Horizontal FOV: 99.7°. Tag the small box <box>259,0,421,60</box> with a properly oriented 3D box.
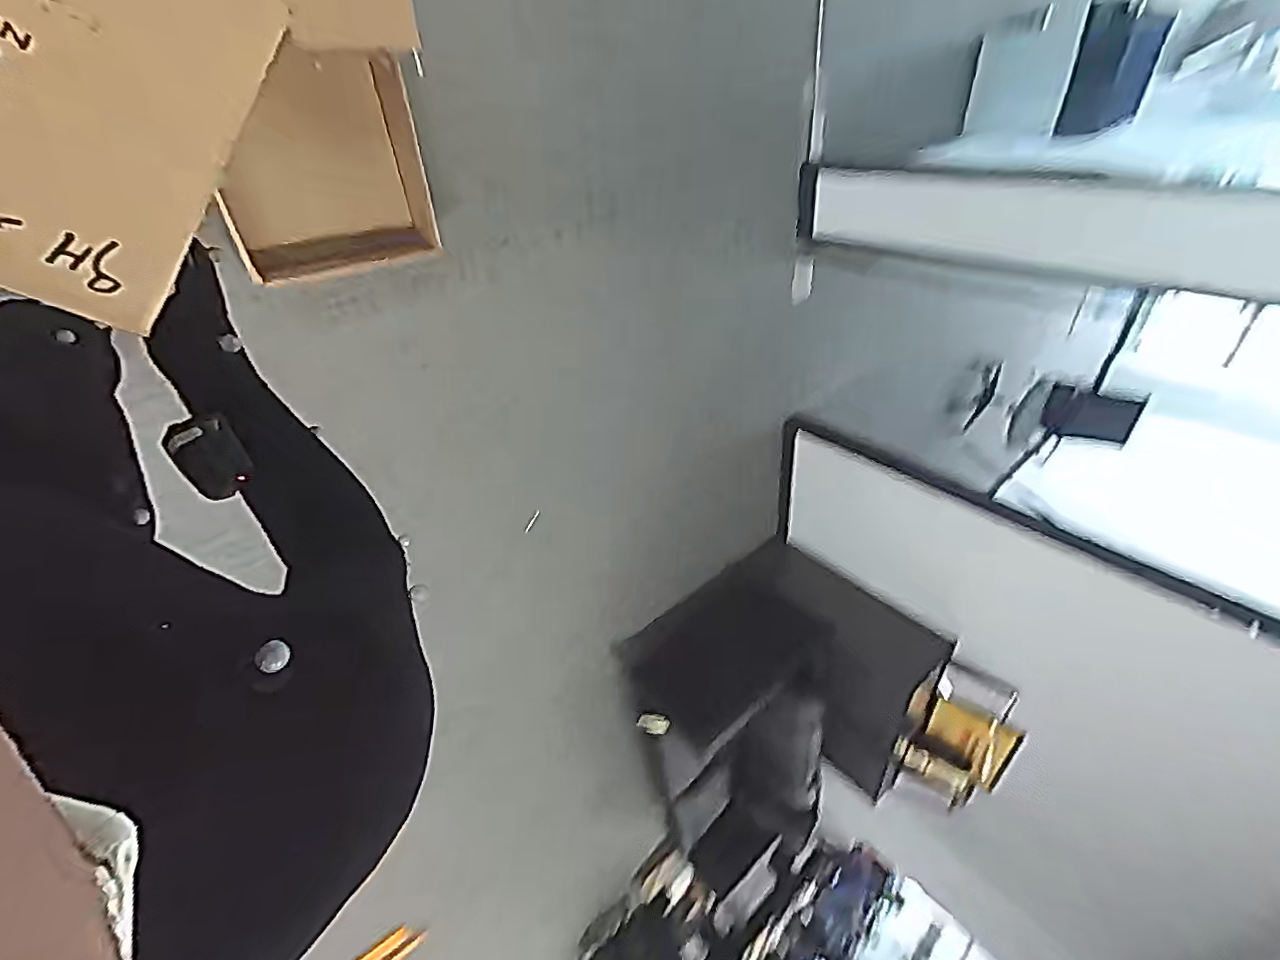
[{"bbox_3d":[-0.444,-0.708,0.768,0.179,0.176,0.168,-26,131,-31],"label":"small box"}]

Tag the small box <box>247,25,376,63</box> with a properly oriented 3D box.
[{"bbox_3d":[-0.553,-0.780,0.868,0.179,0.176,0.168,-26,132,-31],"label":"small box"}]
